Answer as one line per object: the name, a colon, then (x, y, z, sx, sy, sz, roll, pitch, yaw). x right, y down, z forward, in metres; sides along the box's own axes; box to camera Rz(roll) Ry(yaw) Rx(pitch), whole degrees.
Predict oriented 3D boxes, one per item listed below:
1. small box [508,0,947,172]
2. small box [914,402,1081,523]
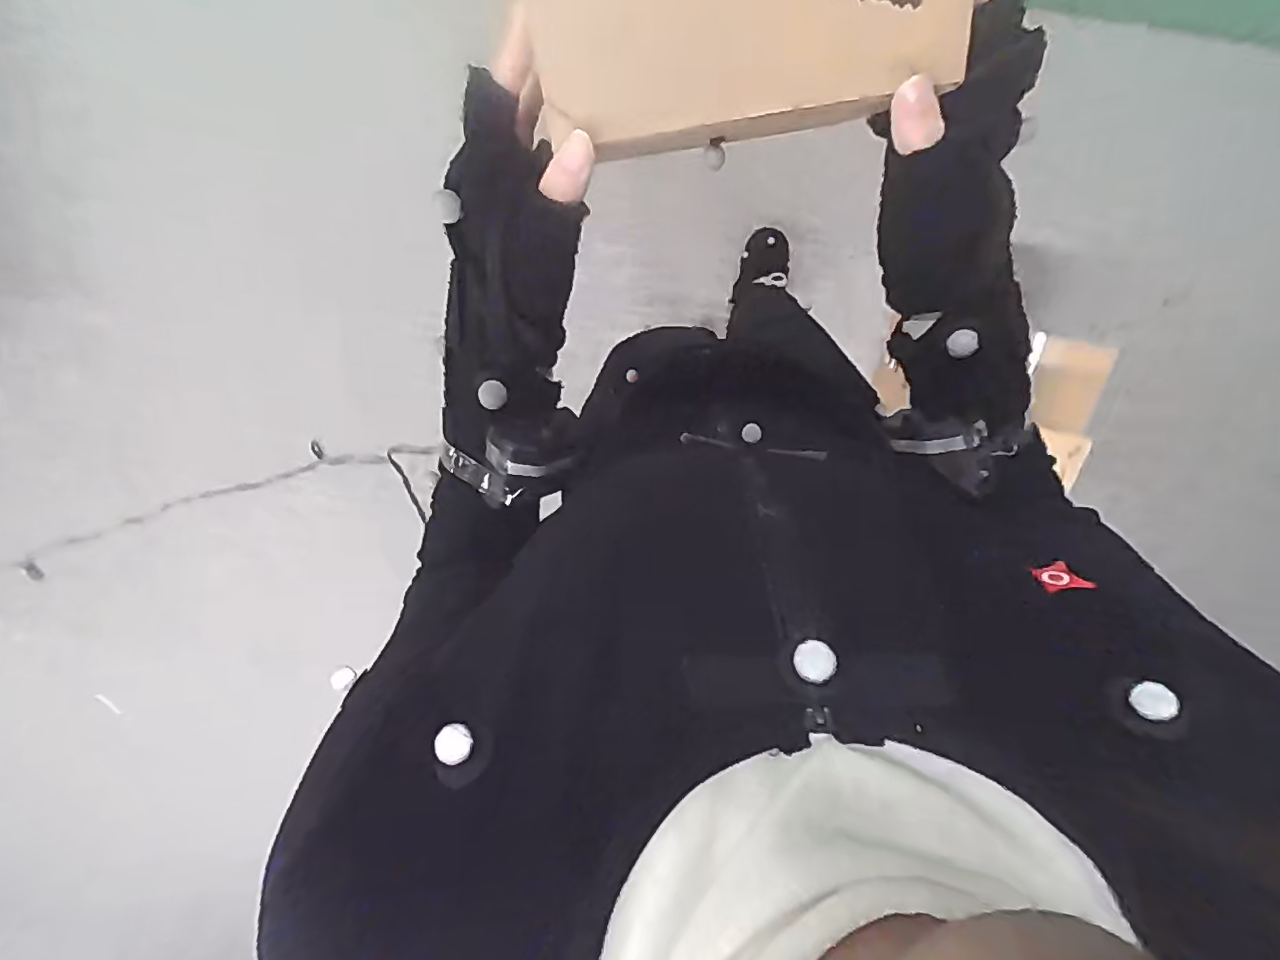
small box: (0.028, -0.258, 0.266, 0.179, 0.176, 0.168, -8, 119, 4)
small box: (0.651, -0.042, 1.014, 0.179, 0.176, 0.168, 13, 110, -1)
